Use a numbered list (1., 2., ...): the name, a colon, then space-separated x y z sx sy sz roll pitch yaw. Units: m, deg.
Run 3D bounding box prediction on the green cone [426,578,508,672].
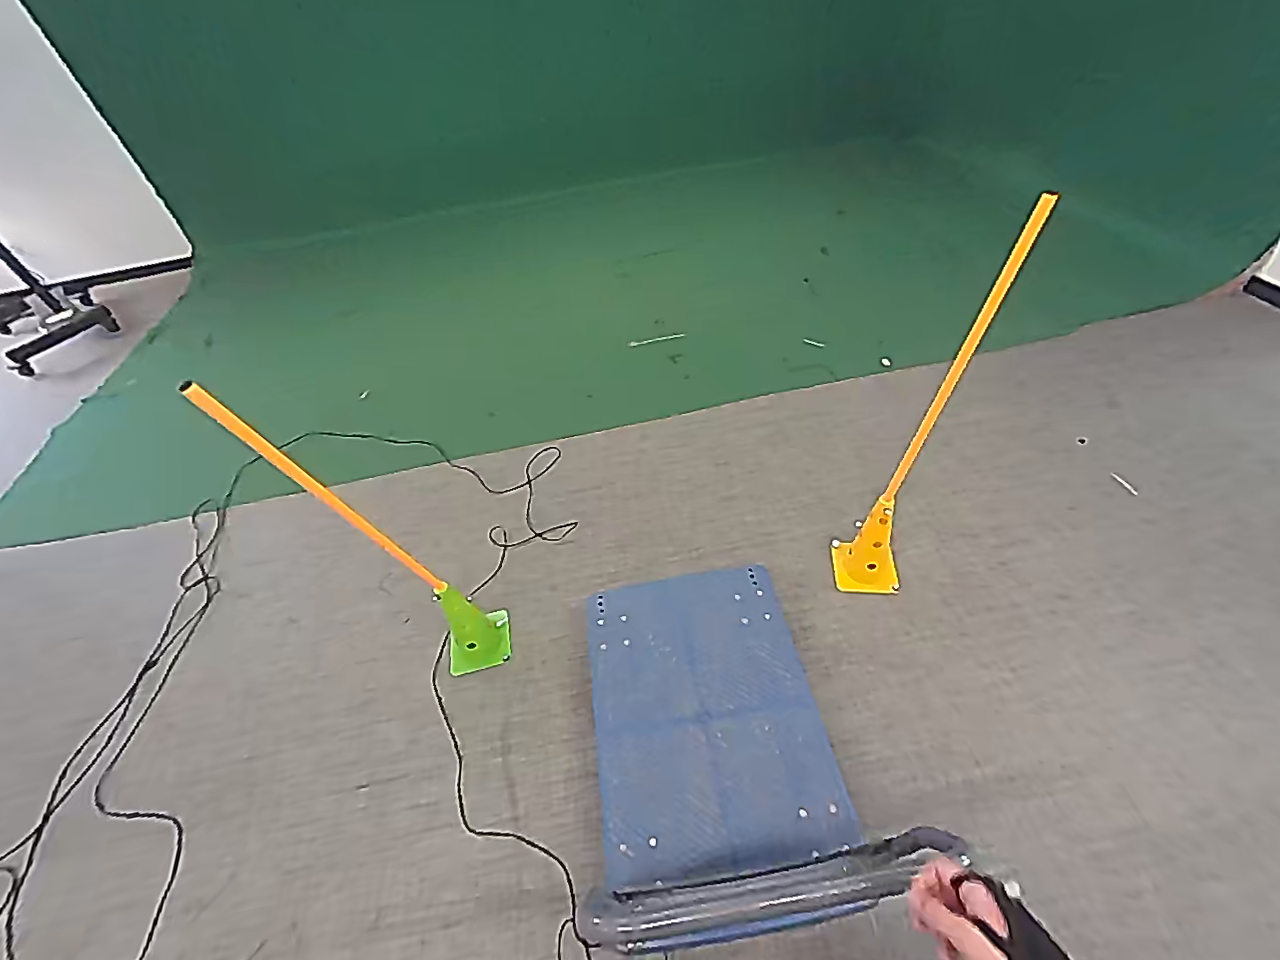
1. green cone: -0.568 0.414 1.688 0.202 0.368 0.200 -16 47 -4
